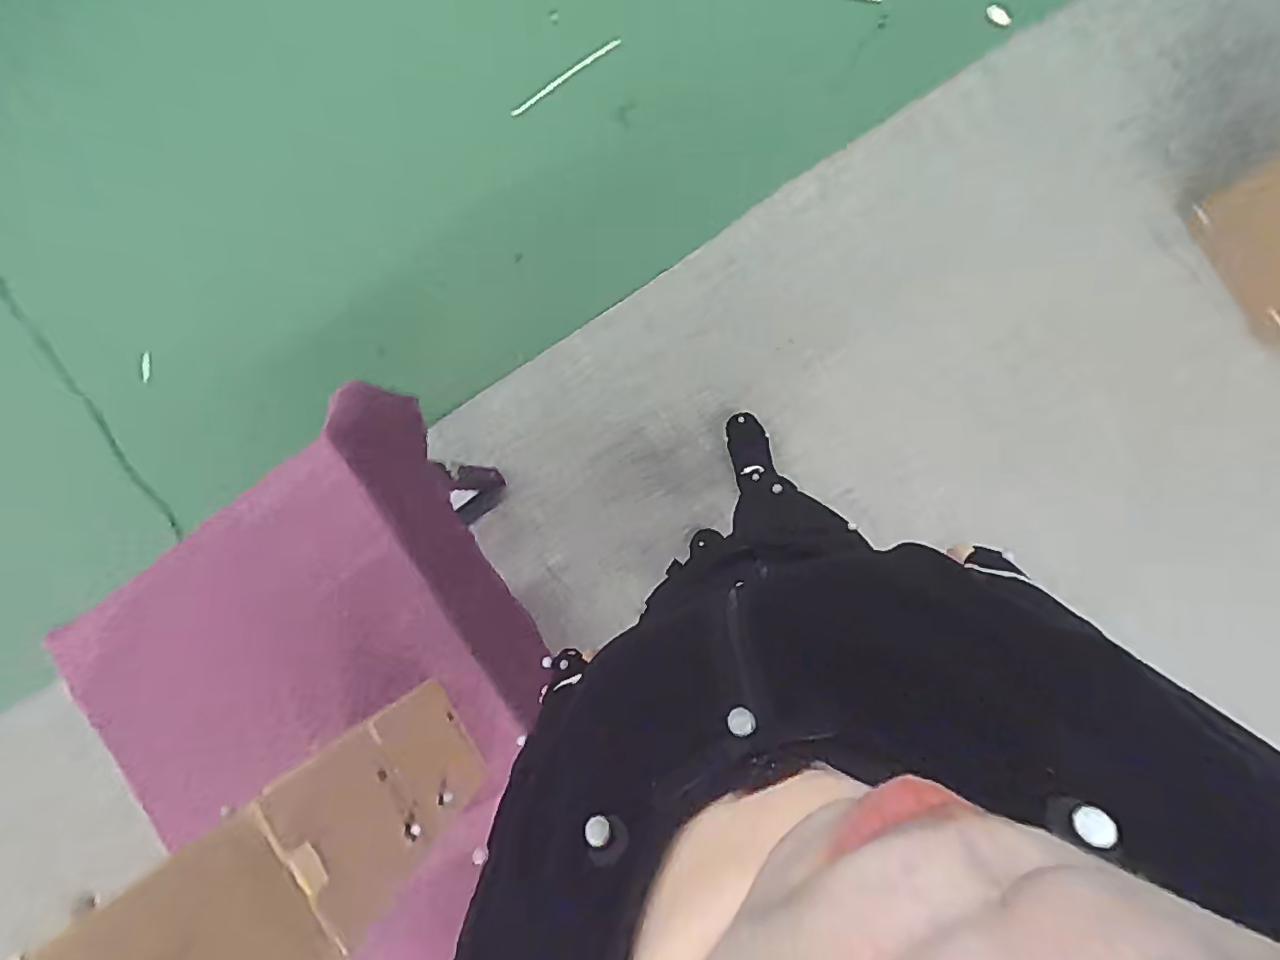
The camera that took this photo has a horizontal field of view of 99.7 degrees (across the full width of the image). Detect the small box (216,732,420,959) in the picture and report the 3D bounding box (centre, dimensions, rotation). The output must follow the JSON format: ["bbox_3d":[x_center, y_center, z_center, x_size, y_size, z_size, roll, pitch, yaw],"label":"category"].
[{"bbox_3d":[-0.367,0.409,0.577,0.179,0.176,0.168,-37,85,6],"label":"small box"}]

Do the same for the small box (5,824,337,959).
[{"bbox_3d":[-0.386,0.410,0.415,0.168,0.176,0.179,-38,86,5],"label":"small box"}]
